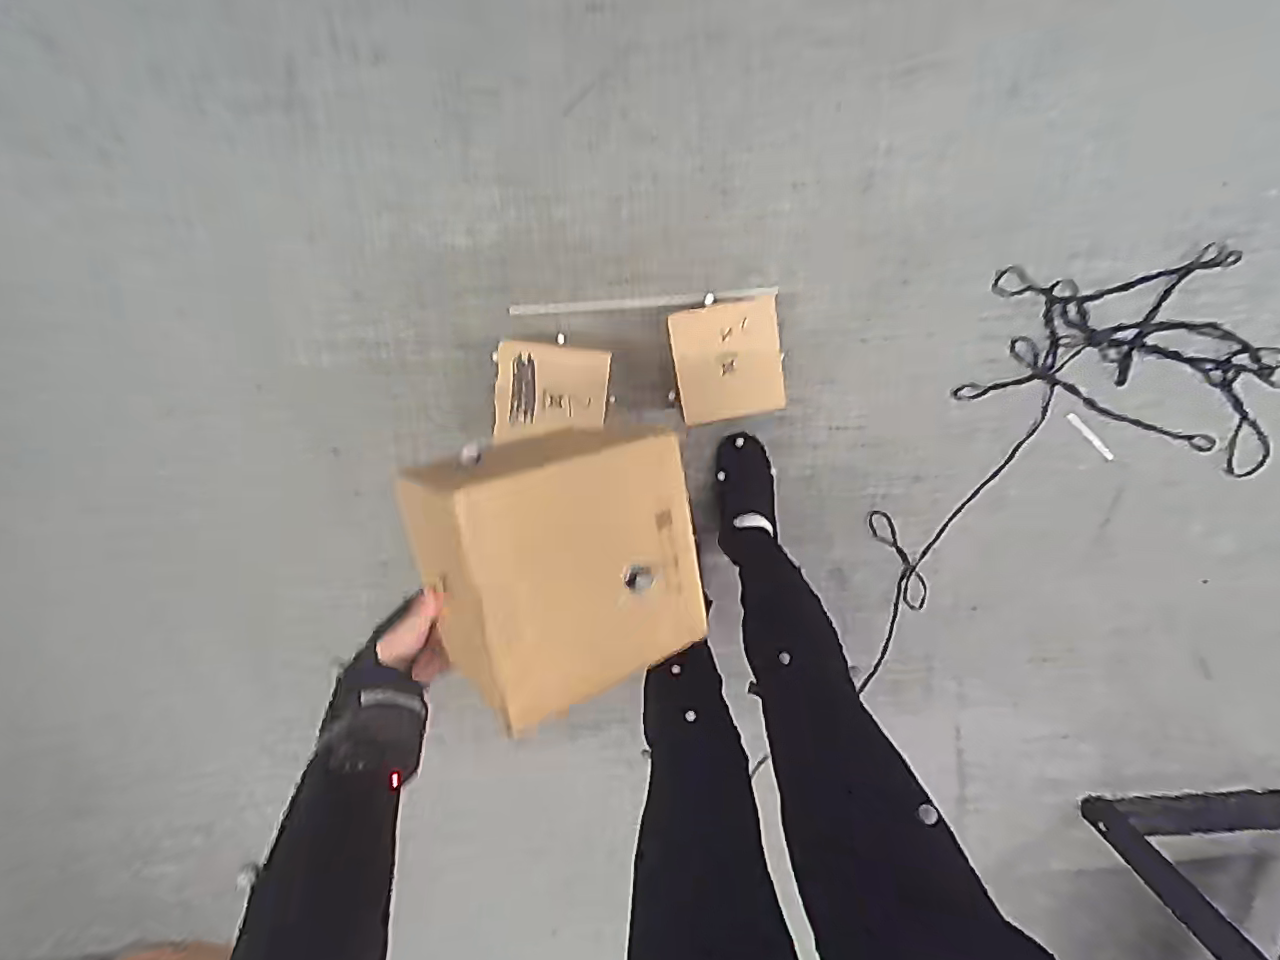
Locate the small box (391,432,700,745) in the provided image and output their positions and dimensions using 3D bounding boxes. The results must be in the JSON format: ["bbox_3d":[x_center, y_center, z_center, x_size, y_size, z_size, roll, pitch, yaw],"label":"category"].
[{"bbox_3d":[-0.077,0.060,0.427,0.176,0.179,0.168,-18,104,-30],"label":"small box"}]

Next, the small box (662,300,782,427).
[{"bbox_3d":[0.133,-0.202,0.920,0.168,0.176,0.179,-11,105,2],"label":"small box"}]
